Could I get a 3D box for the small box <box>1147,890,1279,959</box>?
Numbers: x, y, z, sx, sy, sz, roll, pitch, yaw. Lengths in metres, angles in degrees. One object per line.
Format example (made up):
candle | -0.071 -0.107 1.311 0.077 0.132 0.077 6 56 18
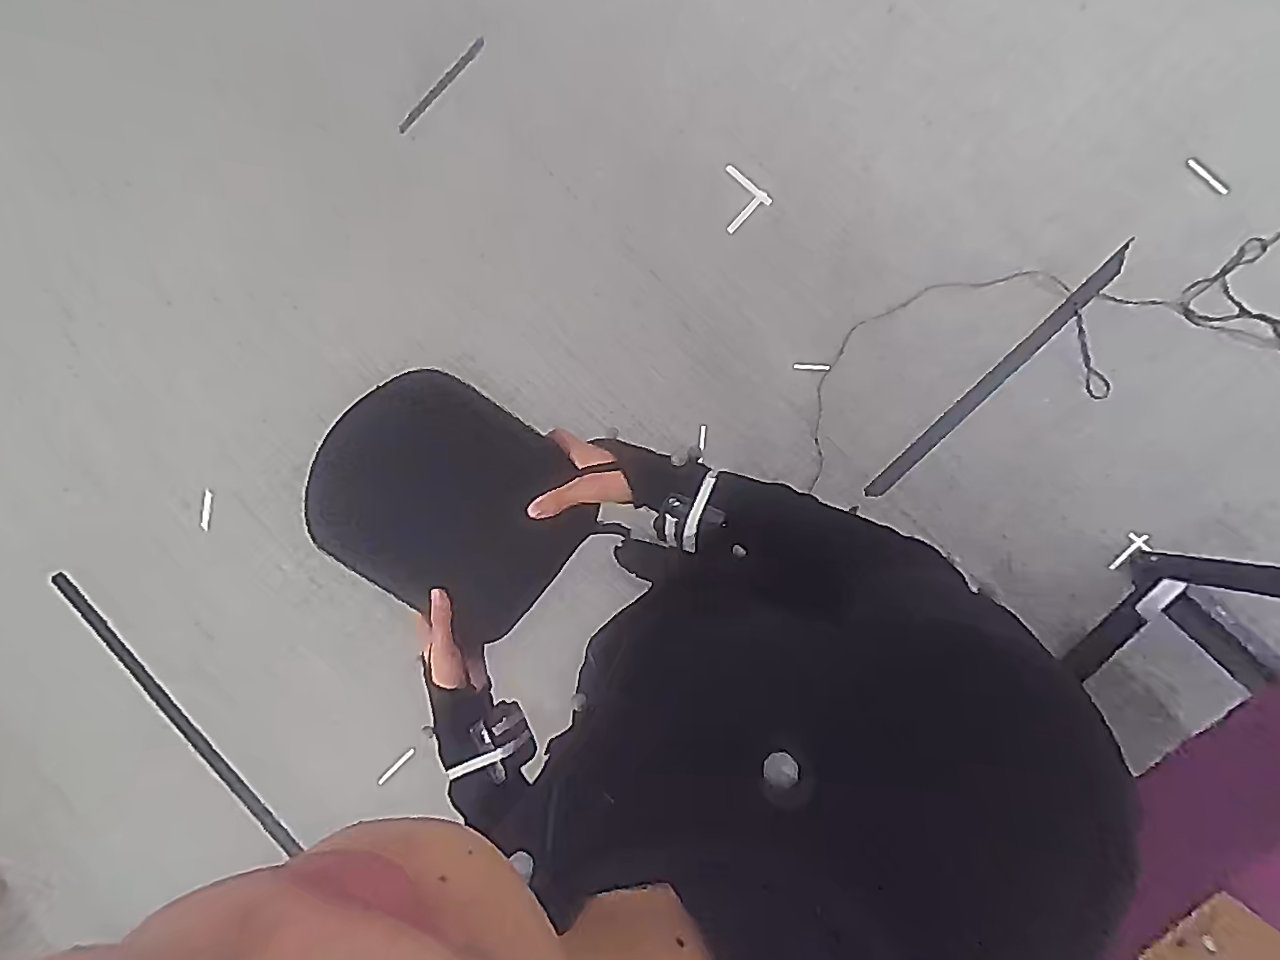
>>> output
small box | 0.873 0.723 0.732 0.168 0.176 0.179 -42 86 2
